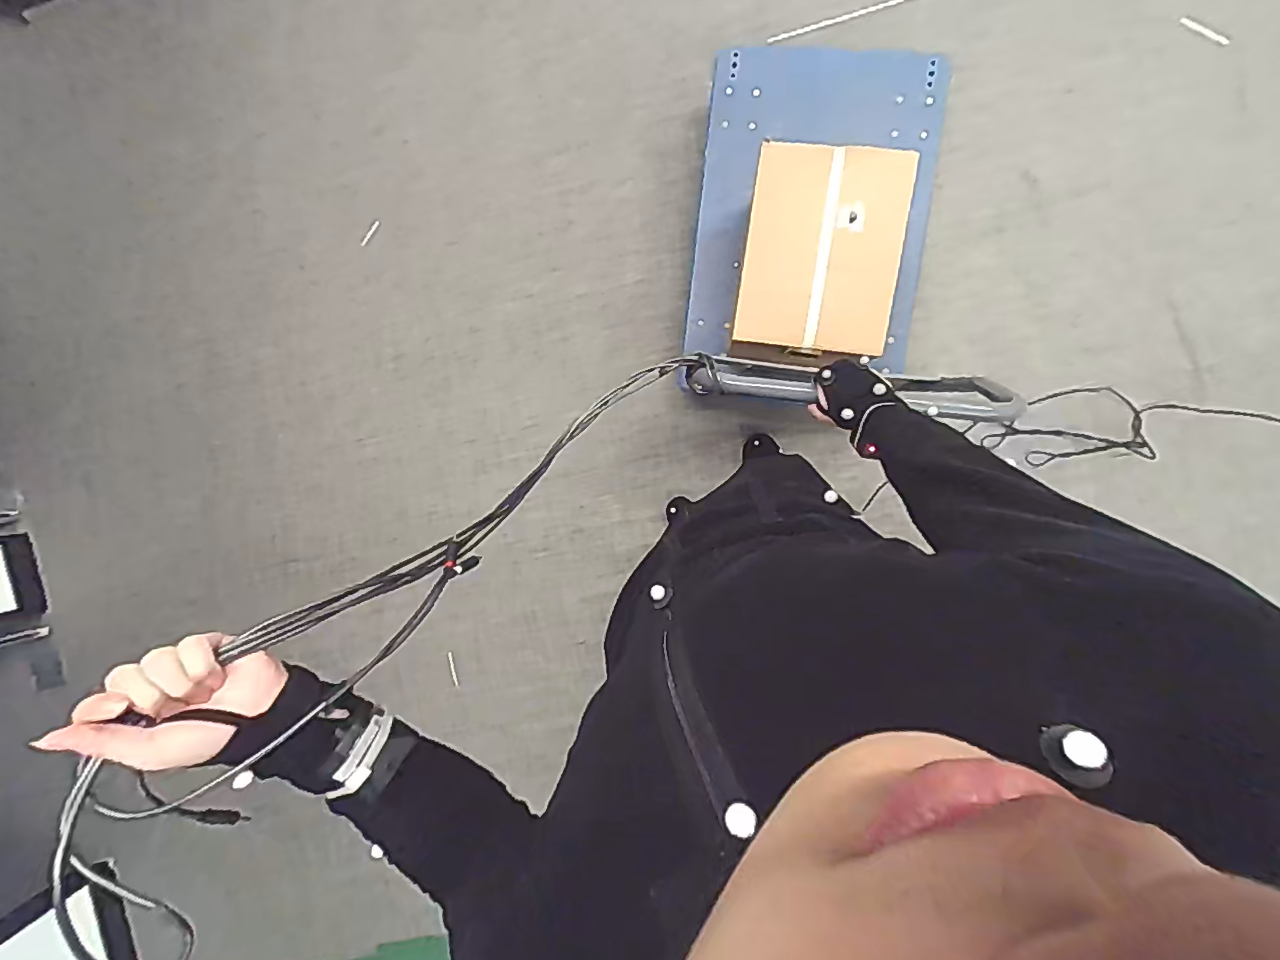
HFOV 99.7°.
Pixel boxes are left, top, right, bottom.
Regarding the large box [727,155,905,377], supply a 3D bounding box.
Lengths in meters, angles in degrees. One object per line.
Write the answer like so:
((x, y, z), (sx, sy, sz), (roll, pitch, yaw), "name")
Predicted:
((0.384, -0.472, 1.274), (0.320, 0.320, 0.408), (8, 95, 5), "large box")
